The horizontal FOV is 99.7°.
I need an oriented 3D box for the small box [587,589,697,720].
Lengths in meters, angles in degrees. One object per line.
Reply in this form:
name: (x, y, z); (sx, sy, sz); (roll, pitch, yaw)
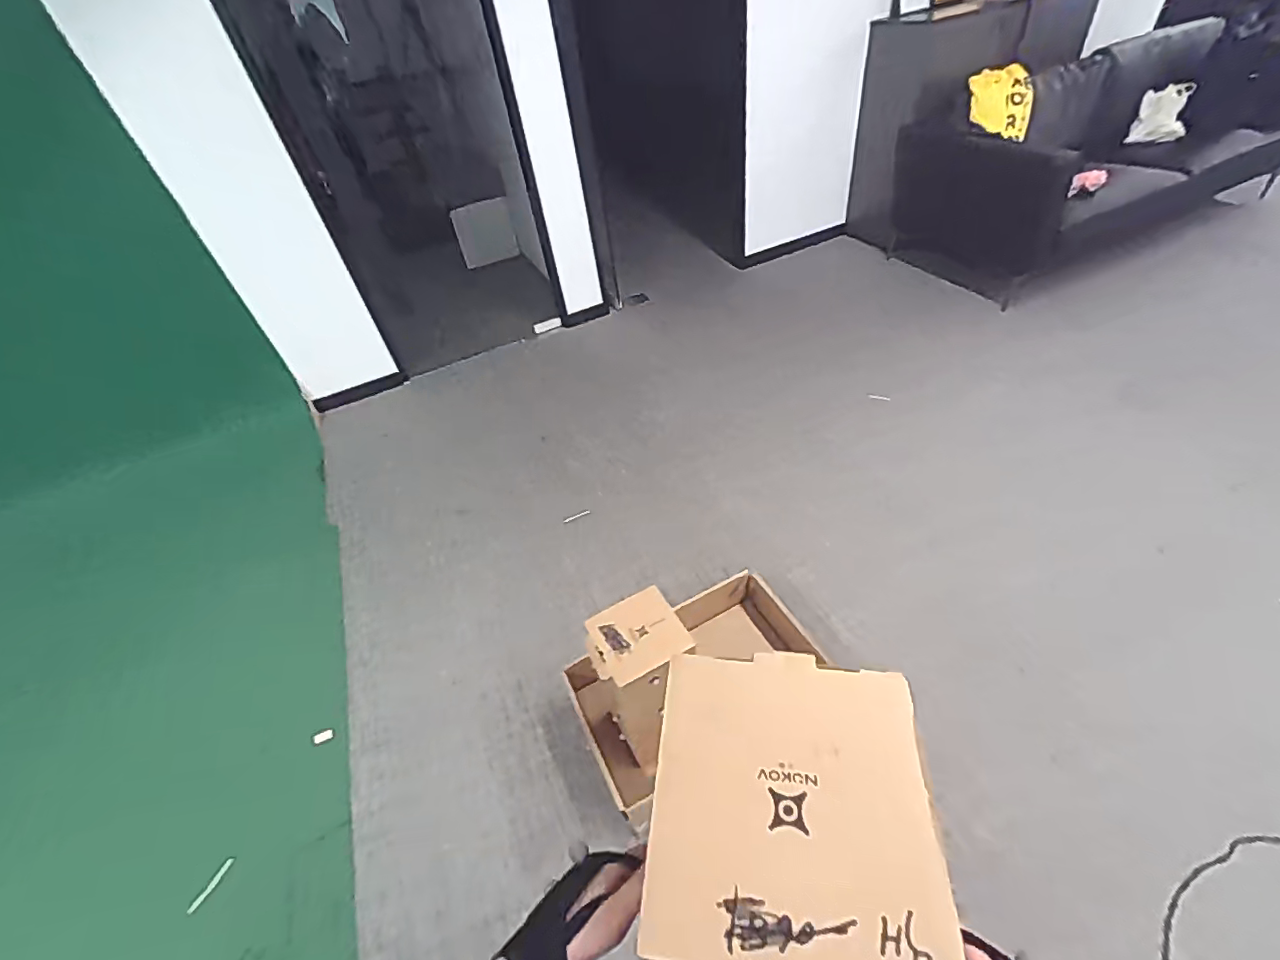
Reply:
small box: (0.011, 0.371, 1.141); (0.179, 0.176, 0.168); (-25, 48, -16)

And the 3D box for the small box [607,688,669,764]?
small box: (0.038, 0.594, 1.378); (0.168, 0.176, 0.179); (-26, 46, -17)

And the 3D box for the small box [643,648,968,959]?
small box: (0.104, 0.246, 0.386); (0.168, 0.176, 0.179); (1, 44, 12)

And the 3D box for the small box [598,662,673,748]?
small box: (0.025, 0.486, 1.257); (0.179, 0.176, 0.168); (-25, 47, -16)
